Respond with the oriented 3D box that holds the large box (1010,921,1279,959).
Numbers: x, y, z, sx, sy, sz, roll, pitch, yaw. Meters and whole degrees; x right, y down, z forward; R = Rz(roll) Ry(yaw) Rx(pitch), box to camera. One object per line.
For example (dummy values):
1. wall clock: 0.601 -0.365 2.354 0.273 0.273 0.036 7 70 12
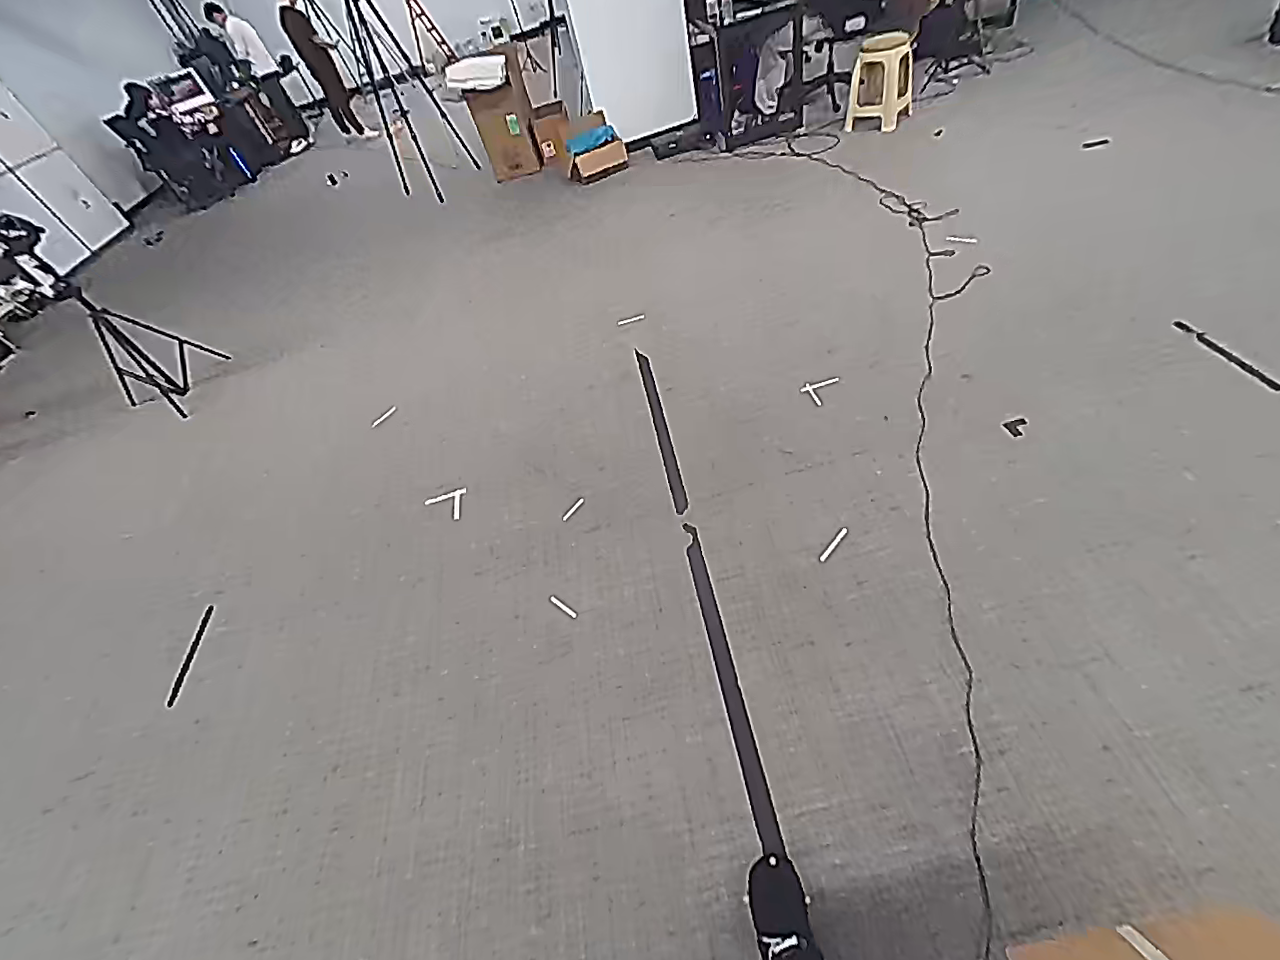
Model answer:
1. large box: 0.646 0.716 0.493 0.320 0.408 0.320 -17 77 7
